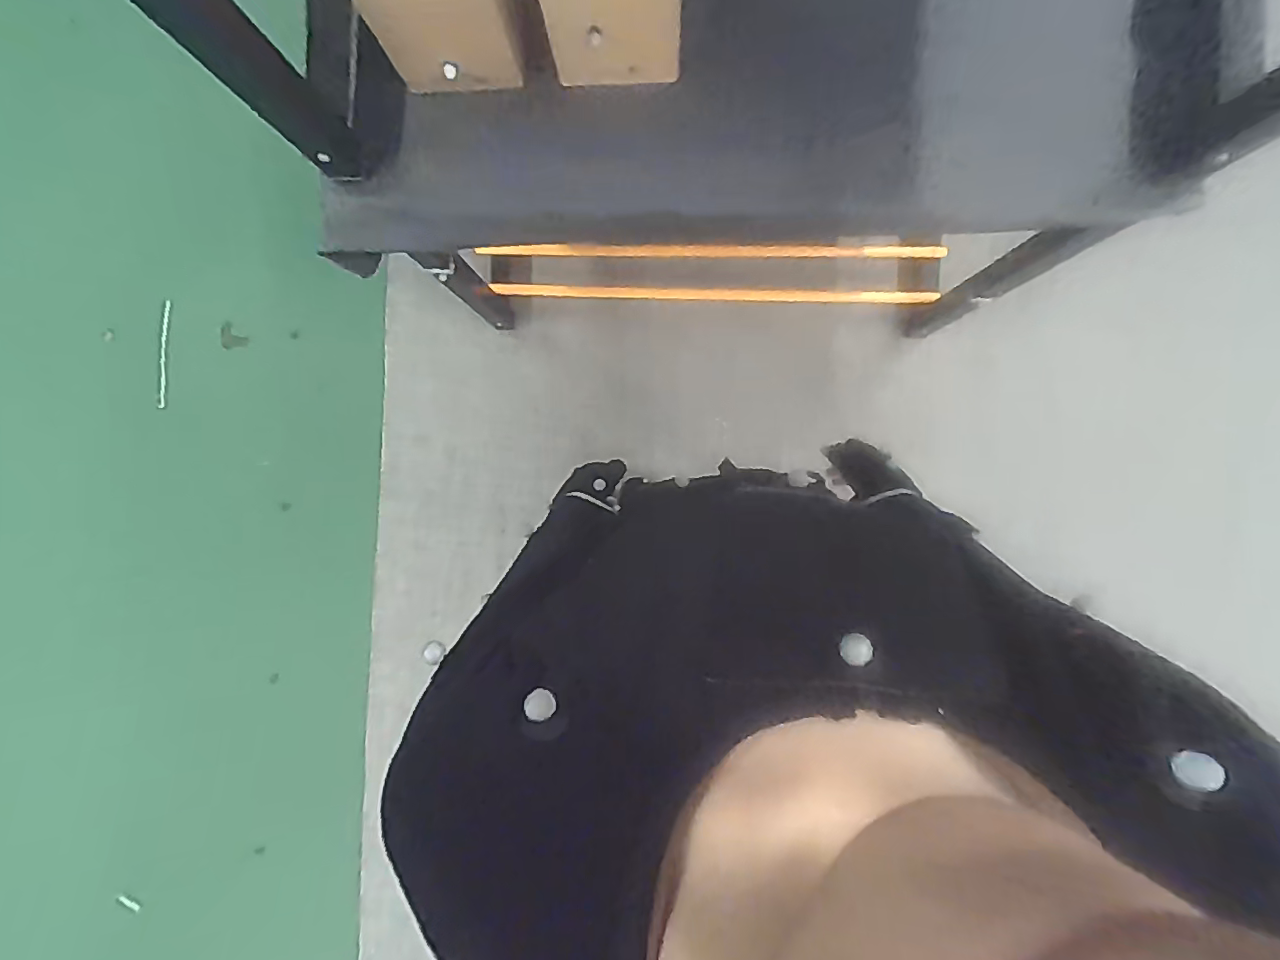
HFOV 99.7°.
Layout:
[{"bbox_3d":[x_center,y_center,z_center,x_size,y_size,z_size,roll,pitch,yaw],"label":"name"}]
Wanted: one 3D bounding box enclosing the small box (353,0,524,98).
[{"bbox_3d":[-0.252,-0.638,0.697,0.168,0.176,0.179,-1,90,3],"label":"small box"}]
